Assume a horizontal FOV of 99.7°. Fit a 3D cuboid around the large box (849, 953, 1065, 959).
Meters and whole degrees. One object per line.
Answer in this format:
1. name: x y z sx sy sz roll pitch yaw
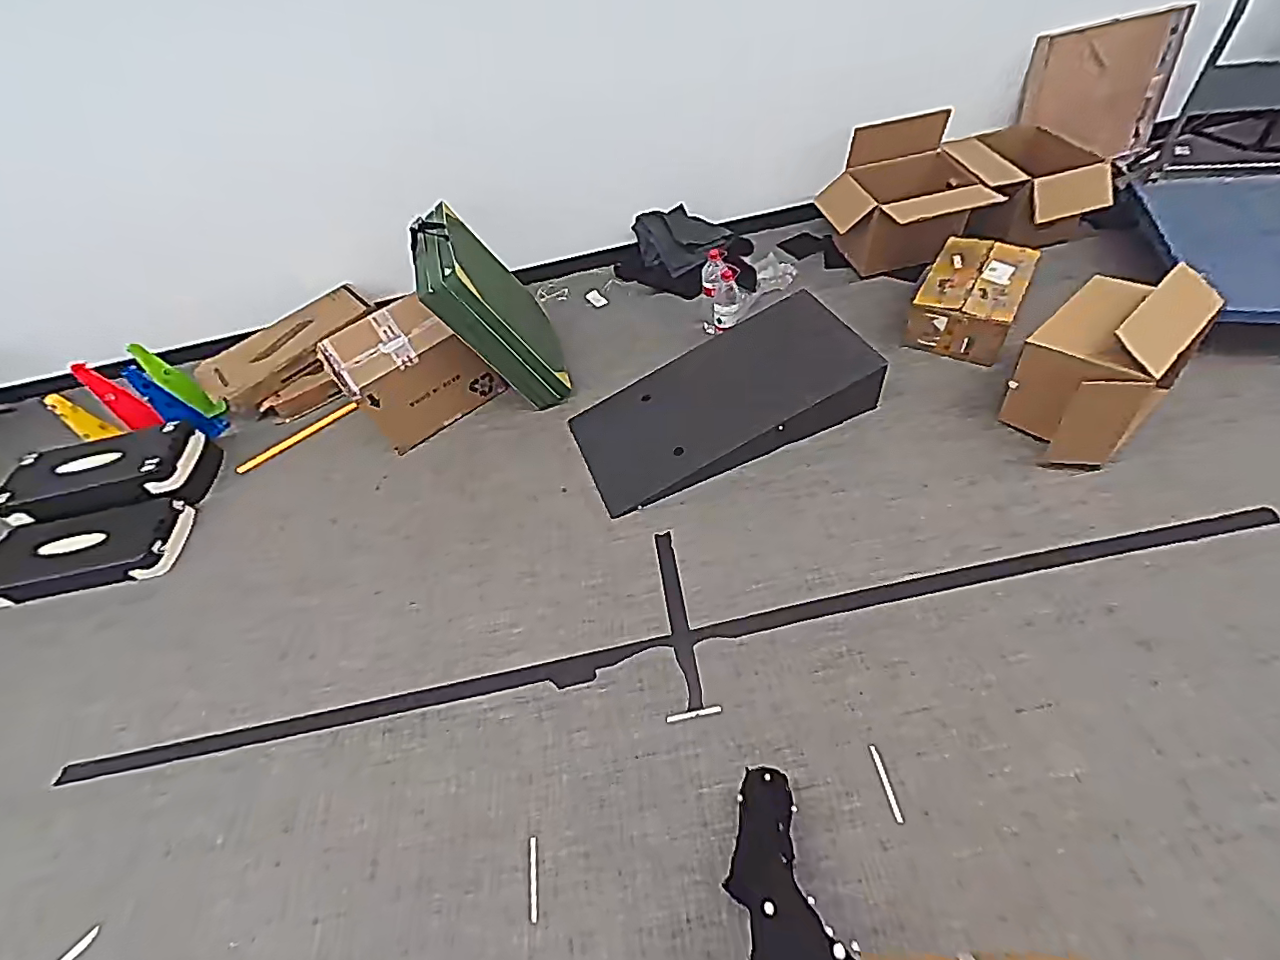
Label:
1. large box: 0.443 0.777 0.547 0.320 0.408 0.320 -3 73 6
